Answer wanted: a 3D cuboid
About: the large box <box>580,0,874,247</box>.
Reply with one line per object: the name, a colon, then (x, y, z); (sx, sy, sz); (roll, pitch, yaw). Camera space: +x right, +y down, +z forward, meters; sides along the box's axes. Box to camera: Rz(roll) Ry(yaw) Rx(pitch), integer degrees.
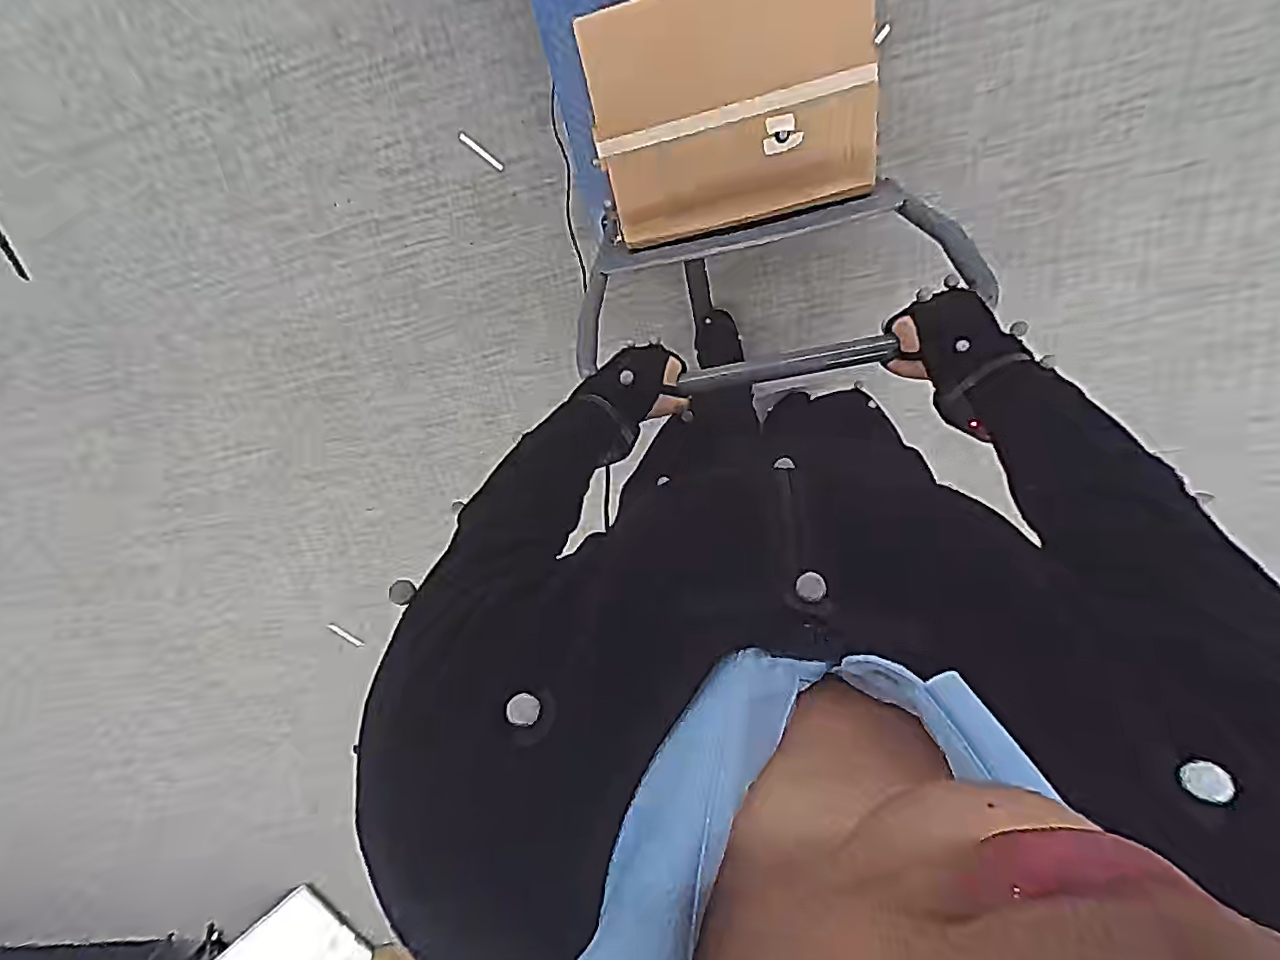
large box: (0.146, -0.640, 0.934); (0.408, 0.320, 0.320); (-10, 125, 10)
